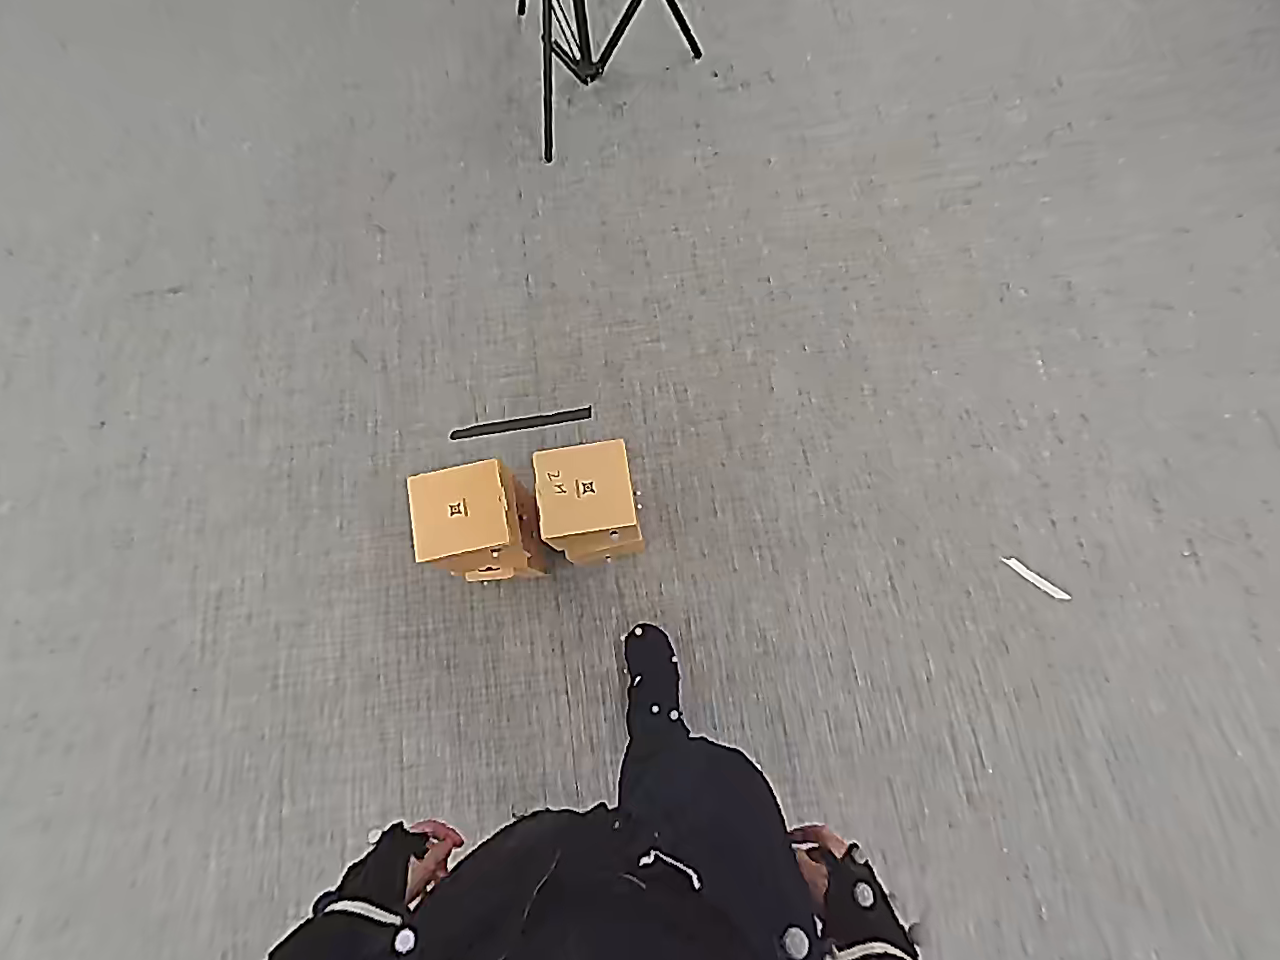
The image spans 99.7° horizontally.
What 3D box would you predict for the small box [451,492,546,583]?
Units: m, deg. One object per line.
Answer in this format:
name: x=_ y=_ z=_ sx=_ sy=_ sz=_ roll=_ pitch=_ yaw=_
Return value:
small box: x=-0.311 y=0.136 z=1.215 sx=0.168 sy=0.176 sz=0.179 roll=-6 pitch=74 yaw=1
